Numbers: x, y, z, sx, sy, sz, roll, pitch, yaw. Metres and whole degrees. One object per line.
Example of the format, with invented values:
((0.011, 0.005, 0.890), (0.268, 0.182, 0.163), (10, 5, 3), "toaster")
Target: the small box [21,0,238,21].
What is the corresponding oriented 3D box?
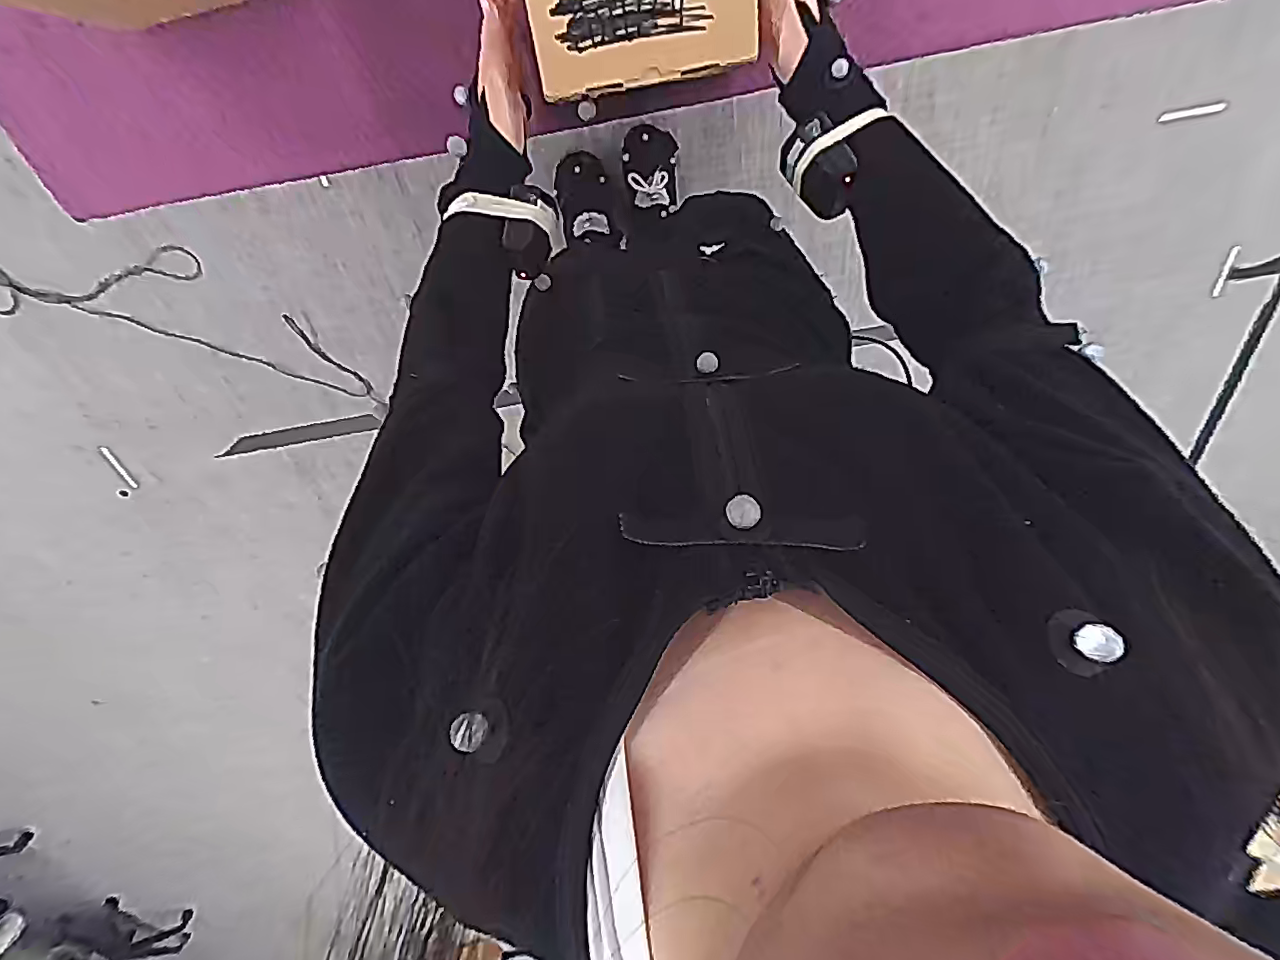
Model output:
((-0.375, -0.442, 0.363), (0.179, 0.176, 0.168), (-13, 123, 2), "small box")
